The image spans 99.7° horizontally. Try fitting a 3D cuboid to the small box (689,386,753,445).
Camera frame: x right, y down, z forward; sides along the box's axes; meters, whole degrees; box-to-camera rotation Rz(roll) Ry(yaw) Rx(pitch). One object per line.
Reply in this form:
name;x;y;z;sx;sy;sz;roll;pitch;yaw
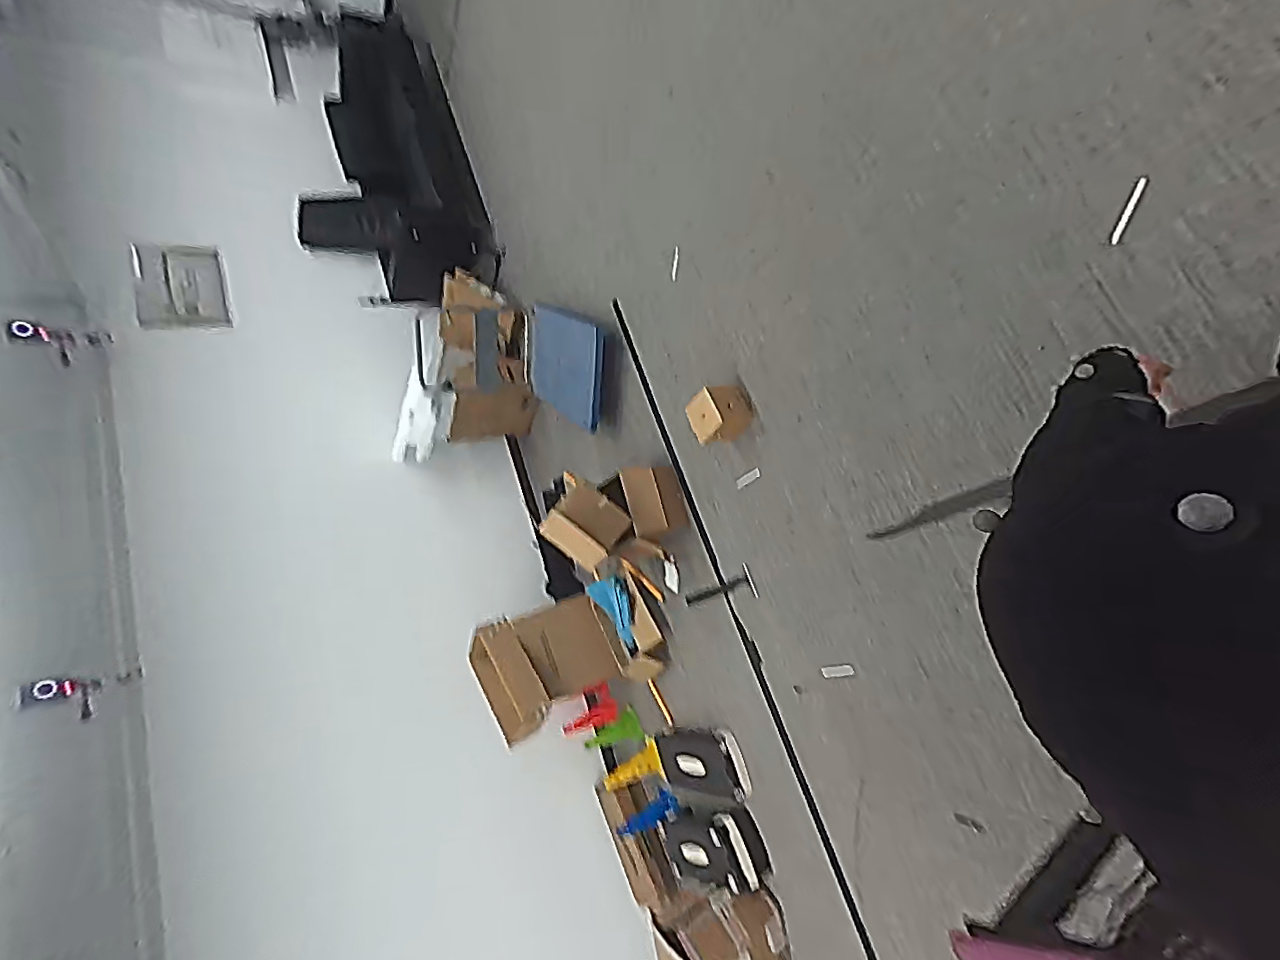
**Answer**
small box;0.333;-0.265;2.187;0.168;0.176;0.179;66;147;21
